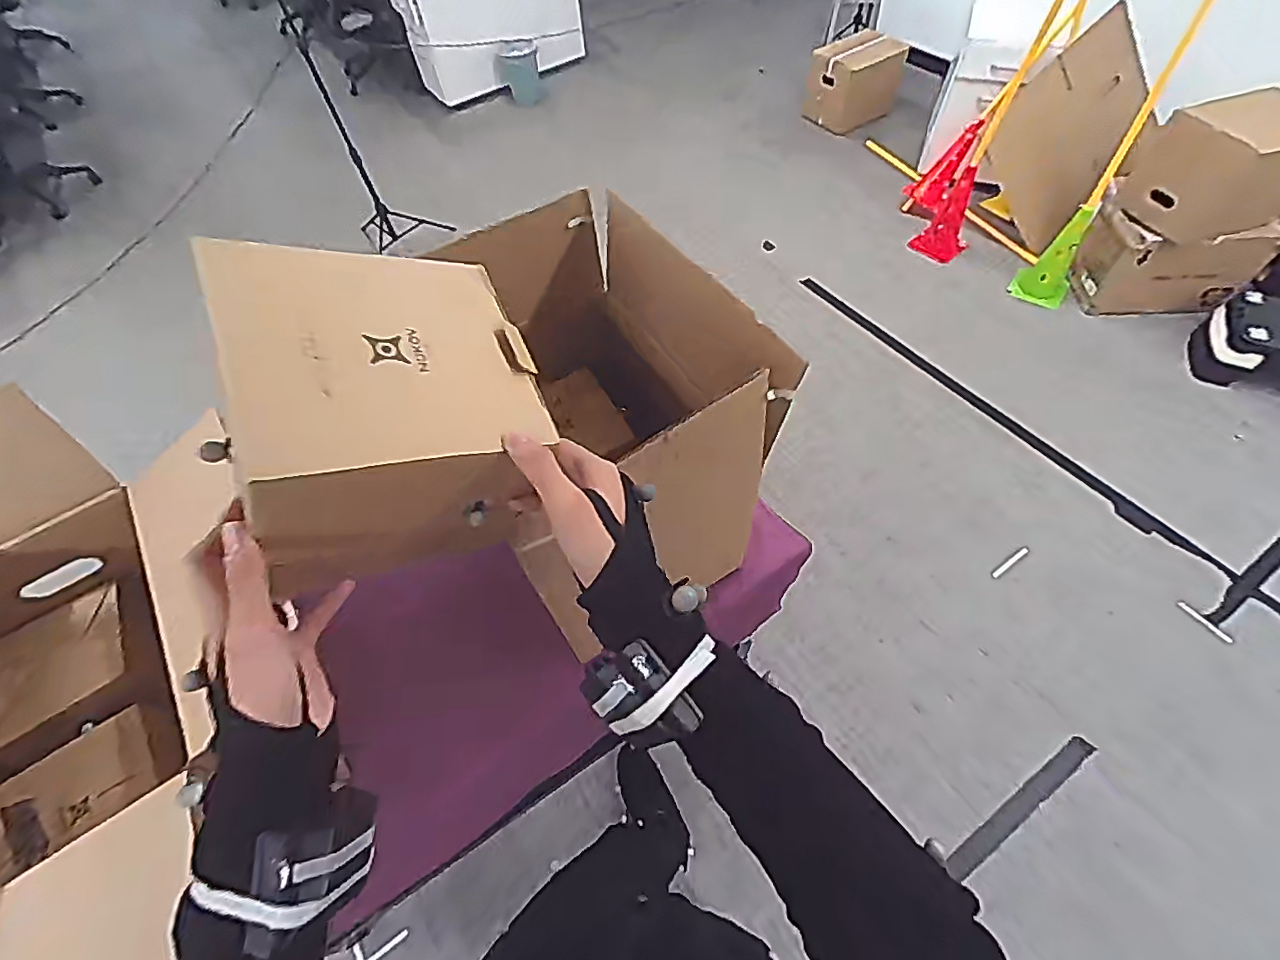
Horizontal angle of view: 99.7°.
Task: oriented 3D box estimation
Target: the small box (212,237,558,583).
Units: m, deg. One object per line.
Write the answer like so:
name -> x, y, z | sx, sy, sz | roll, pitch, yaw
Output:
small box -> -0.192, -0.044, 0.400 | 0.179, 0.176, 0.168 | -10, 66, -37
